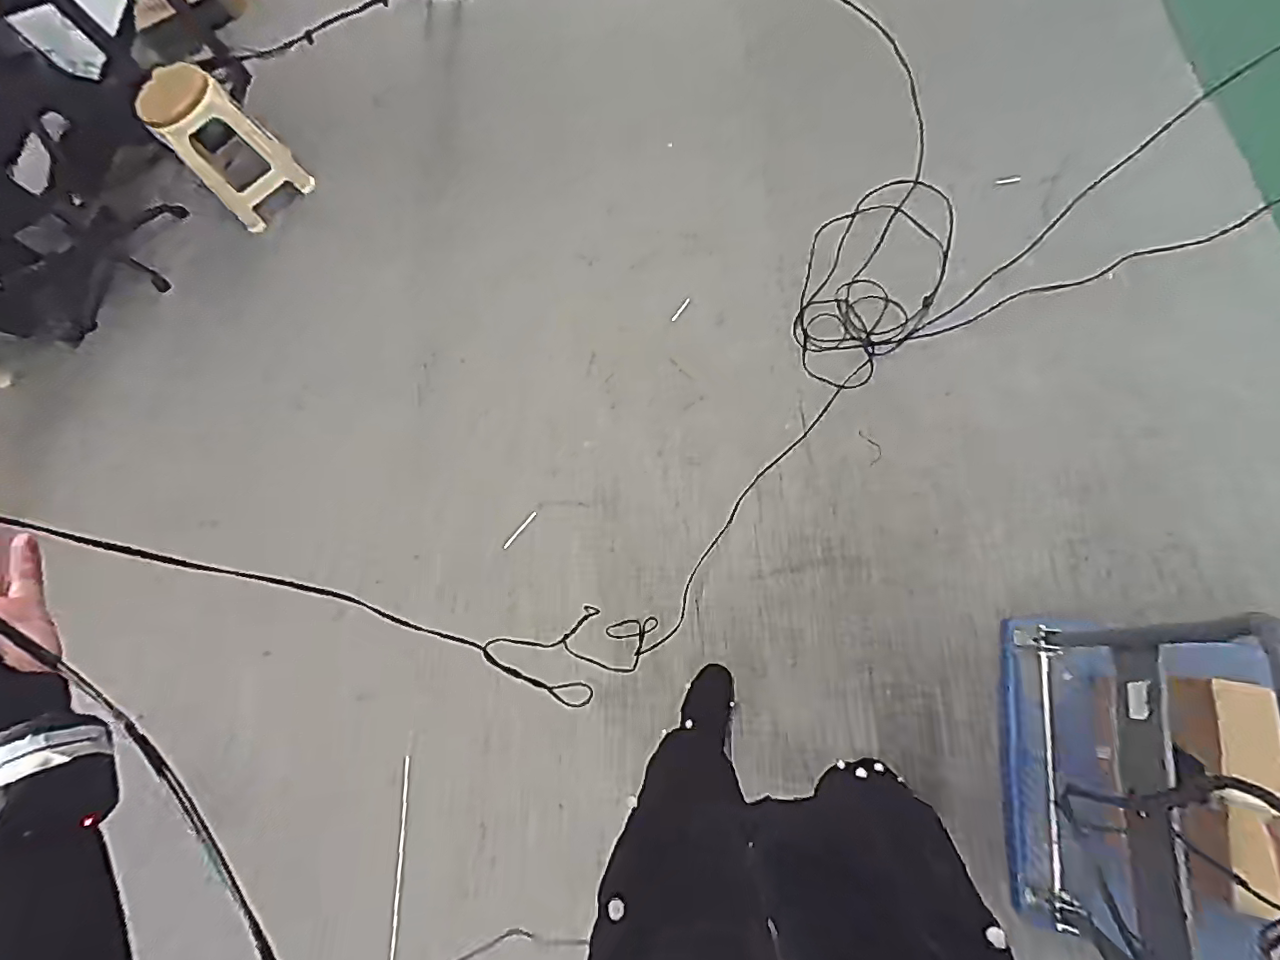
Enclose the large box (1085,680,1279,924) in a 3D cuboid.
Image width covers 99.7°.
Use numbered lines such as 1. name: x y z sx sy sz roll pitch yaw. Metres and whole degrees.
1. large box: 1.056 0.525 0.892 0.408 0.320 0.320 7 74 14
